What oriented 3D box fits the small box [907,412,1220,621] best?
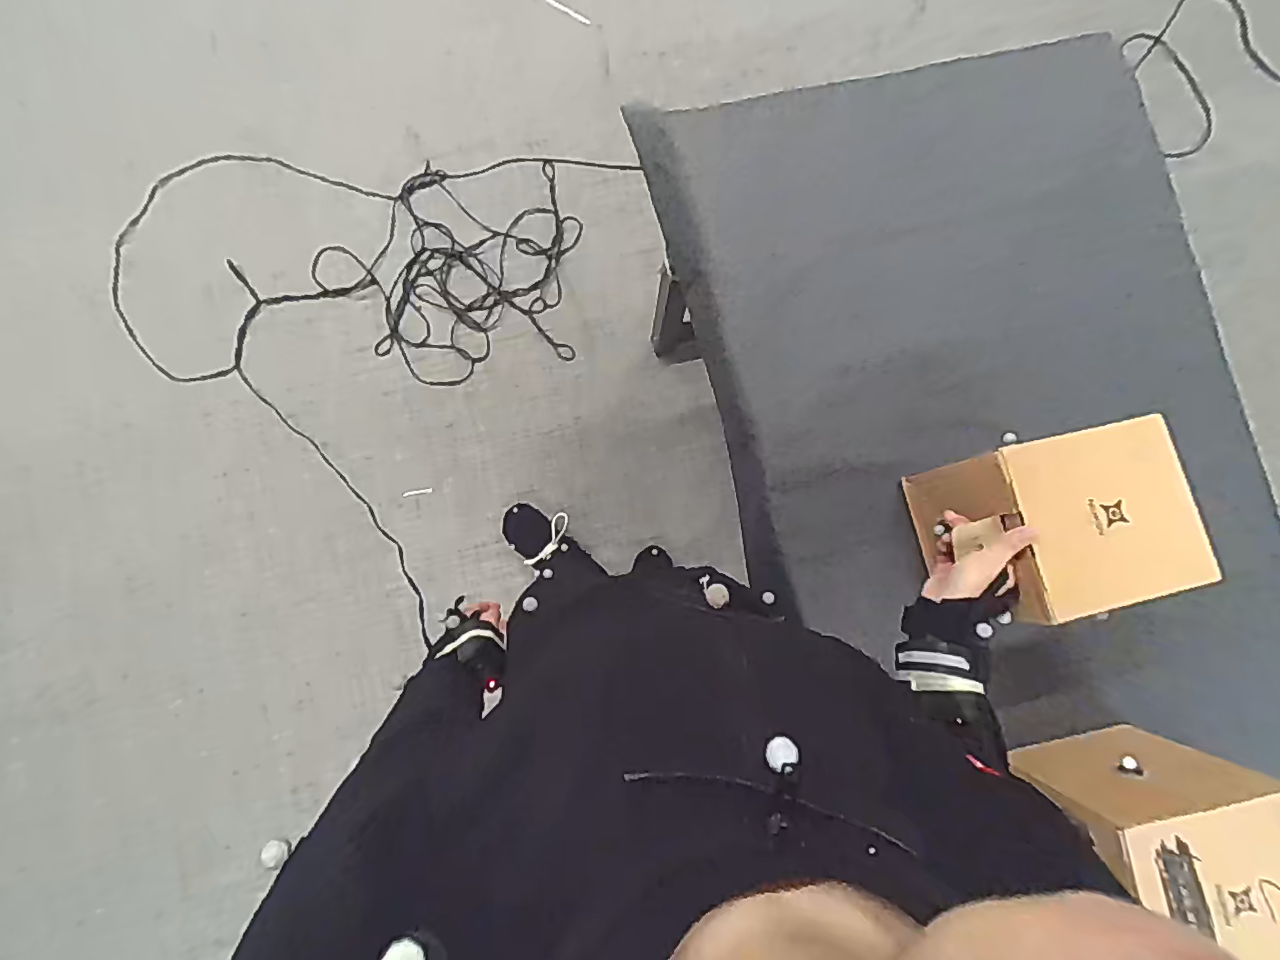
[{"bbox_3d":[0.428,0.040,0.576,0.179,0.176,0.168,-13,83,-7],"label":"small box"}]
